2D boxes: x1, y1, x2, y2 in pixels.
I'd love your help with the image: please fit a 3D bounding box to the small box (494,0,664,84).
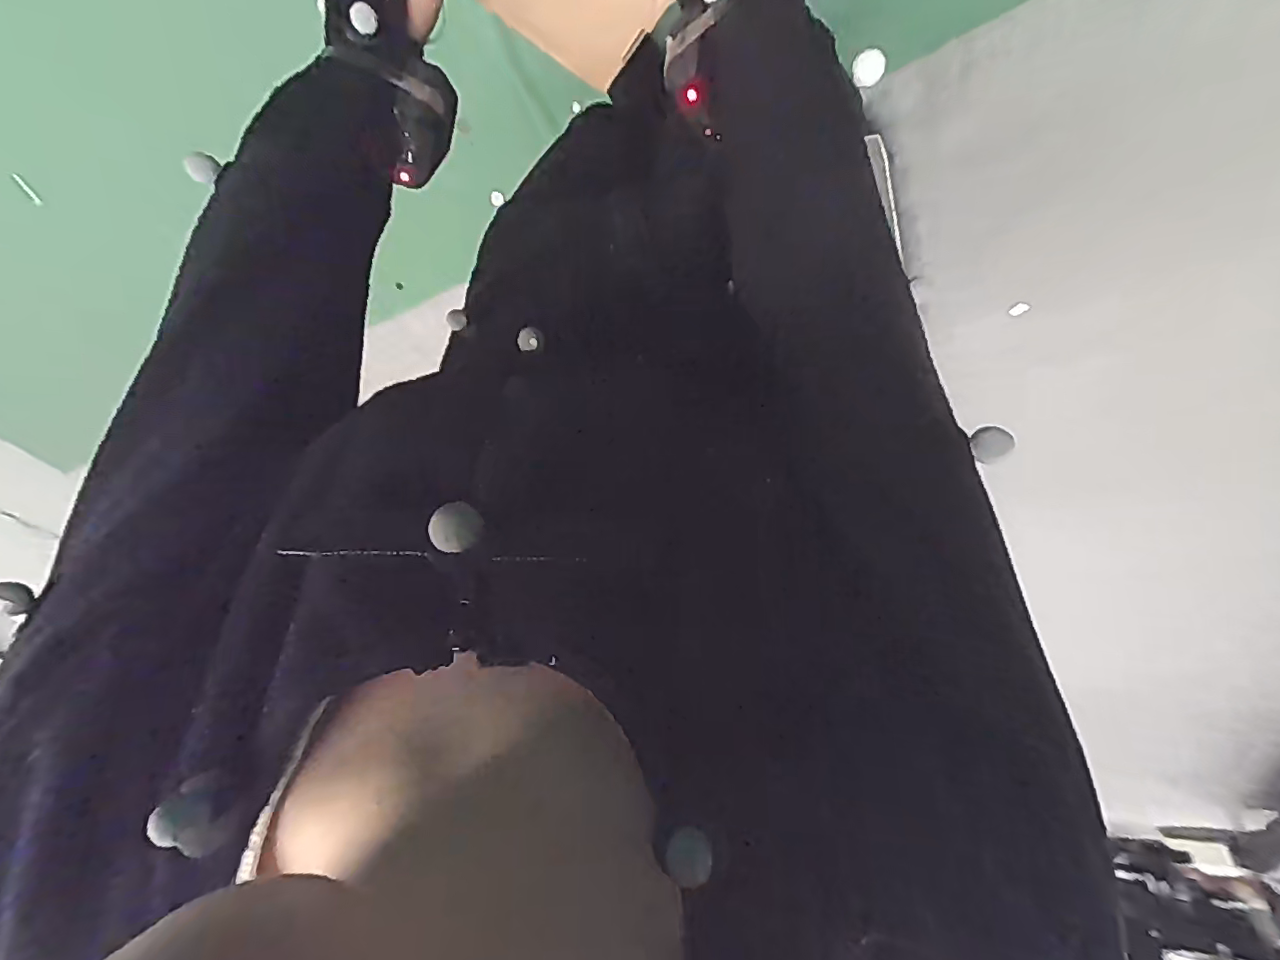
[{"bbox_3d":[-0.045,-0.453,0.384,0.179,0.176,0.168,19,150,-32],"label":"small box"}]
